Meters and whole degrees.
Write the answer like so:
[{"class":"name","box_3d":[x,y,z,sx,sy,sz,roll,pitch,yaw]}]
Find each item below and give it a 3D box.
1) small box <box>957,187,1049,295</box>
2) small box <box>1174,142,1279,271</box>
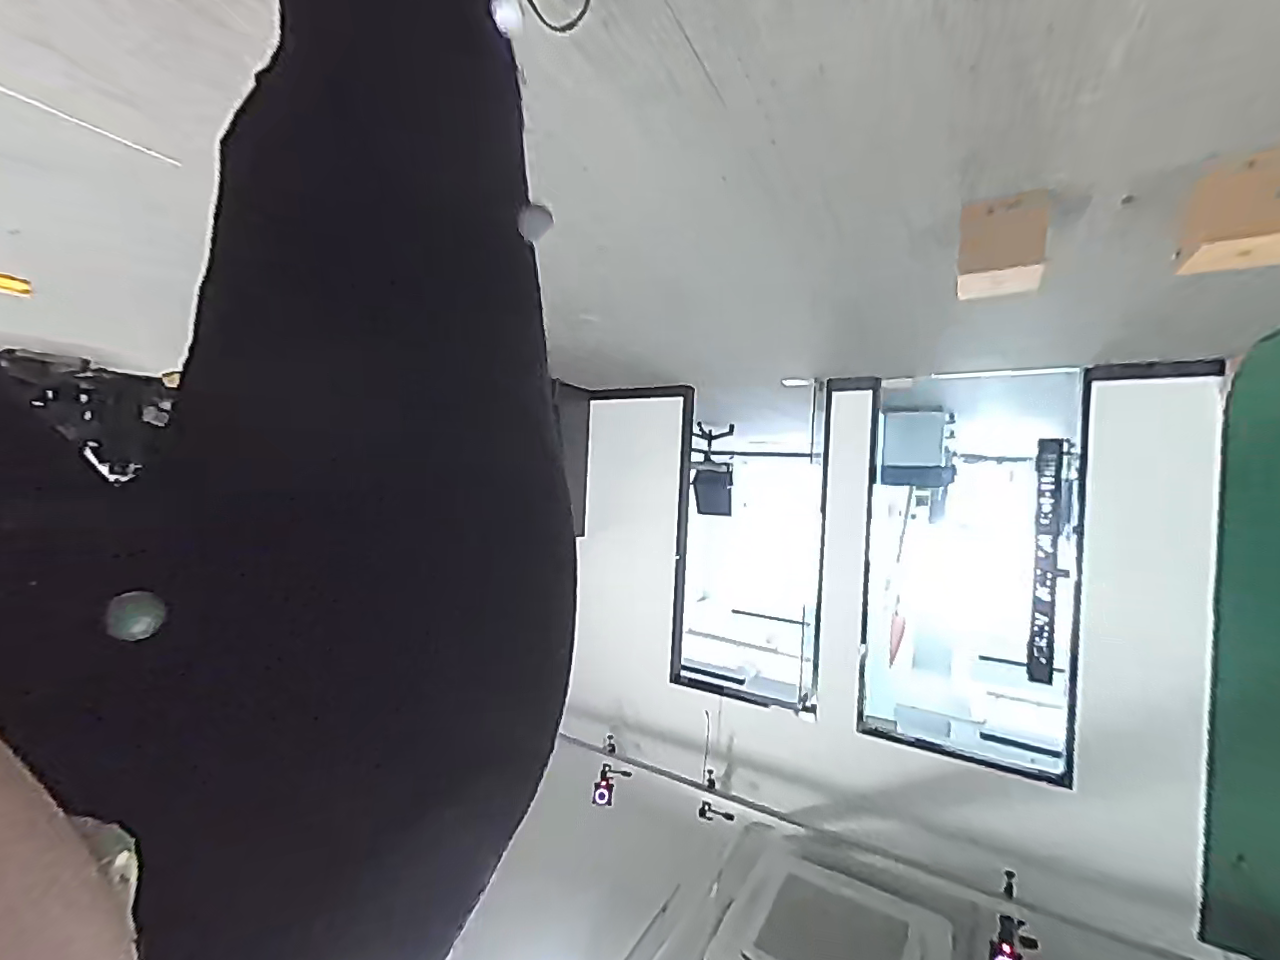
[{"class":"small box","box_3d":[0.842,-0.551,1.263,0.168,0.176,0.179,2,180,31]},{"class":"small box","box_3d":[1.184,-0.535,1.058,0.168,0.176,0.179,2,-179,31]}]
